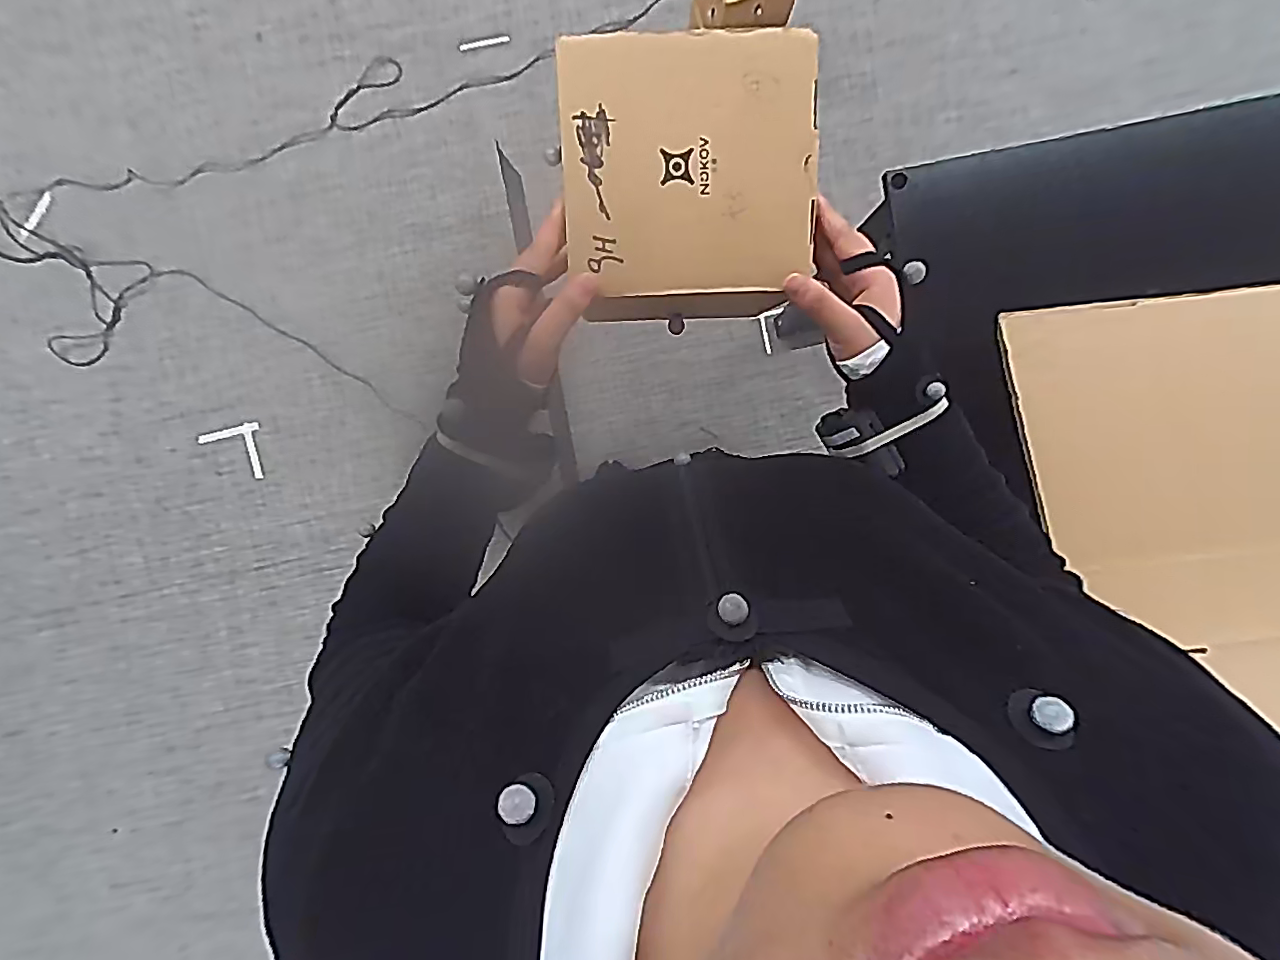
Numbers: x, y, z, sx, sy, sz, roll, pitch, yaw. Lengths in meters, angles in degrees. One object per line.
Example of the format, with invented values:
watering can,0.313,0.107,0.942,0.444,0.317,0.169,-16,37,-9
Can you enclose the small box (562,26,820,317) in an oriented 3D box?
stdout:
small box,0.032,-0.232,0.451,0.179,0.176,0.168,-3,99,-2

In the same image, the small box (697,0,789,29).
small box,0.233,-1.116,1.224,0.179,0.176,0.168,-18,92,0
